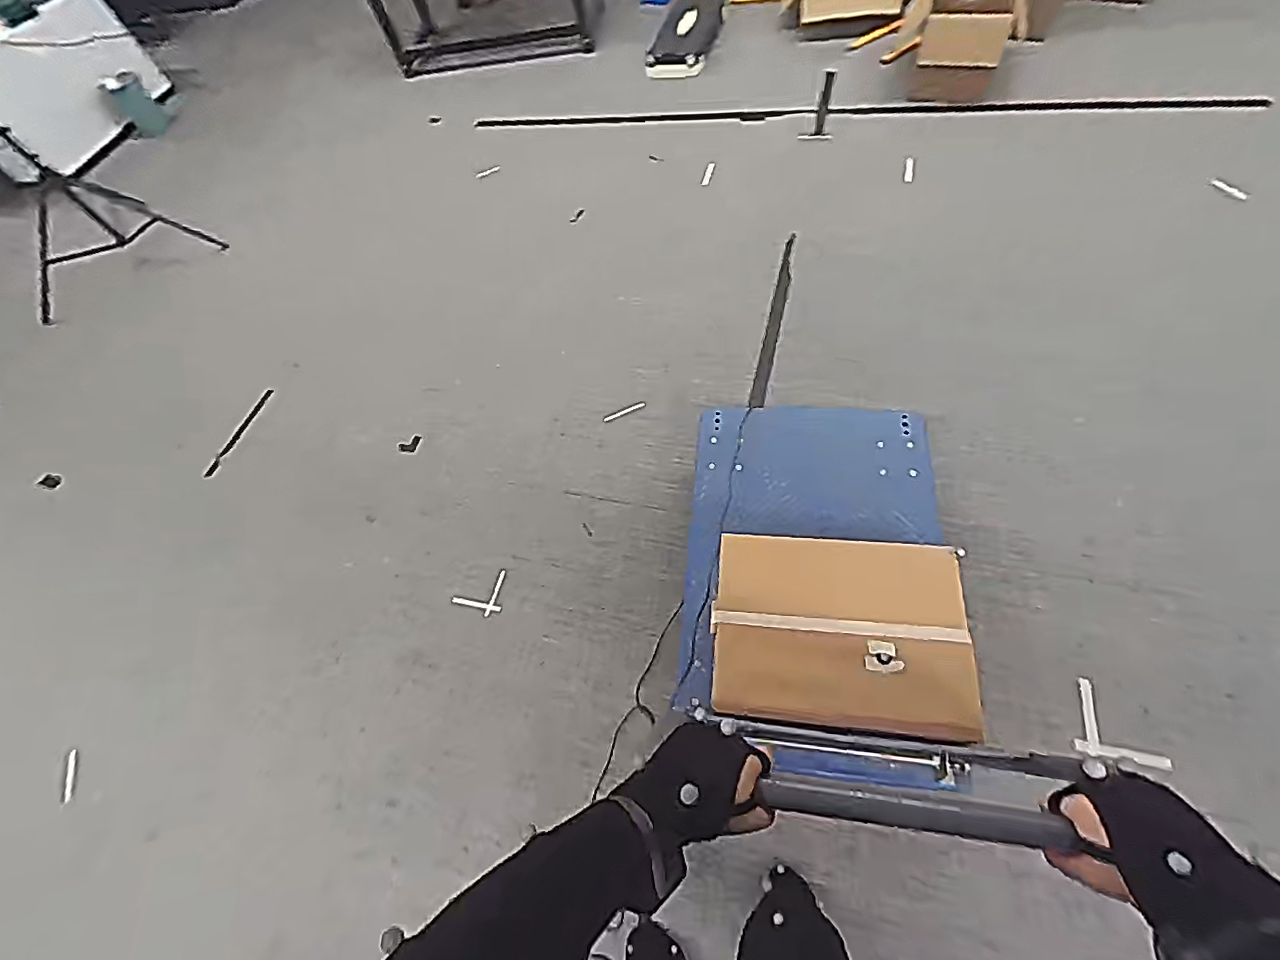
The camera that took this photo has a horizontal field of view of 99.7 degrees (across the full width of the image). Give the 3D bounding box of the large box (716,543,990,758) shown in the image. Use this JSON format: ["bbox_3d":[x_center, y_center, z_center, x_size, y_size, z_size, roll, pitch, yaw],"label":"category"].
[{"bbox_3d":[0.349,0.325,1.014,0.408,0.320,0.320,2,63,10],"label":"large box"}]
